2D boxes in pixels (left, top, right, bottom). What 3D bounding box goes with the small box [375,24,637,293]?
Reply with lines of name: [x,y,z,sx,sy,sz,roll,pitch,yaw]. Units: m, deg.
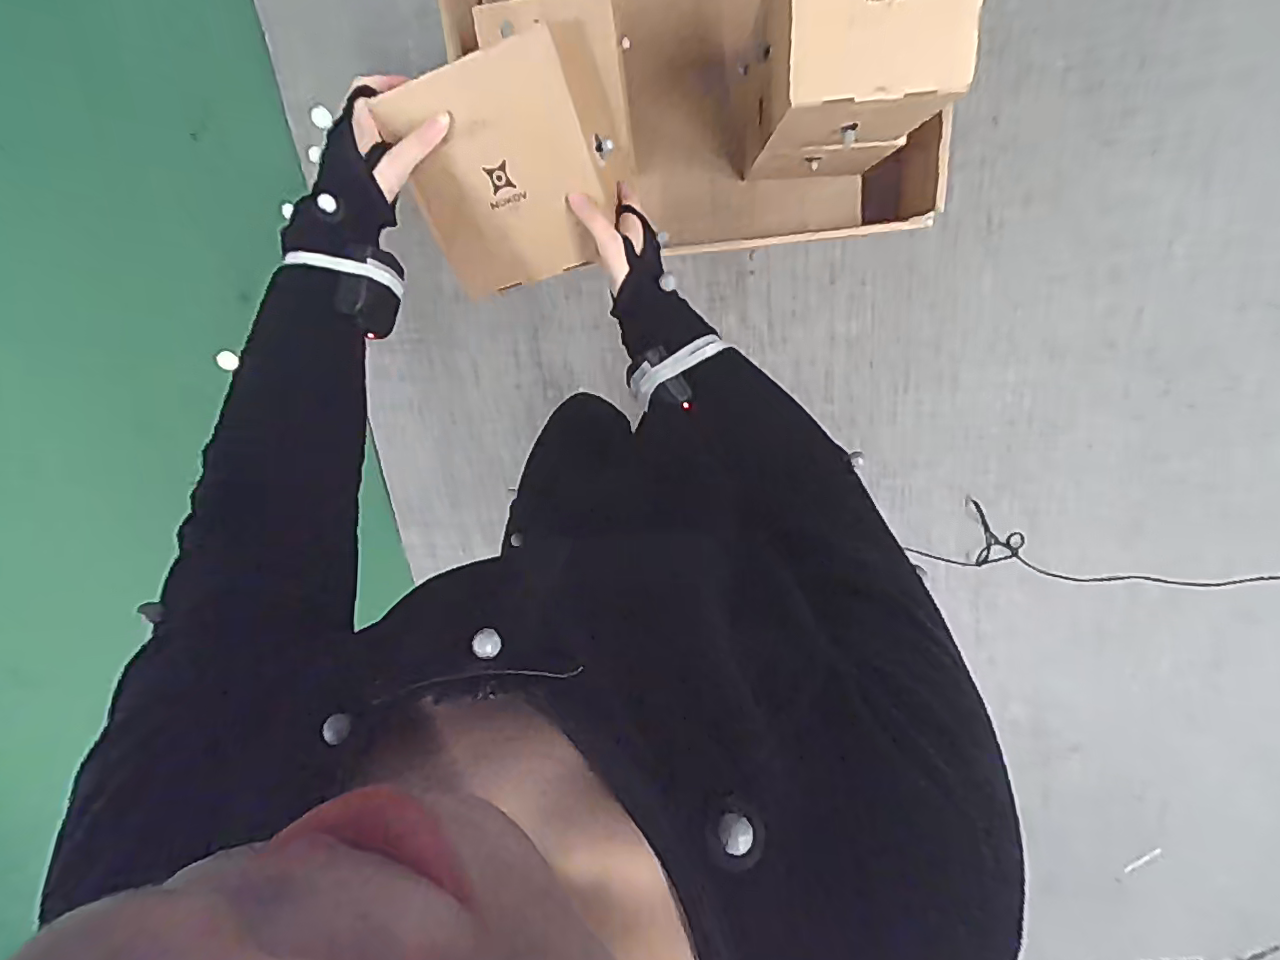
small box: [-0.109,-0.315,0.532,0.168,0.176,0.179,-10,127,15]

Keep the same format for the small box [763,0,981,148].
small box: [0.220,-0.454,0.547,0.168,0.176,0.179,-2,109,5]
